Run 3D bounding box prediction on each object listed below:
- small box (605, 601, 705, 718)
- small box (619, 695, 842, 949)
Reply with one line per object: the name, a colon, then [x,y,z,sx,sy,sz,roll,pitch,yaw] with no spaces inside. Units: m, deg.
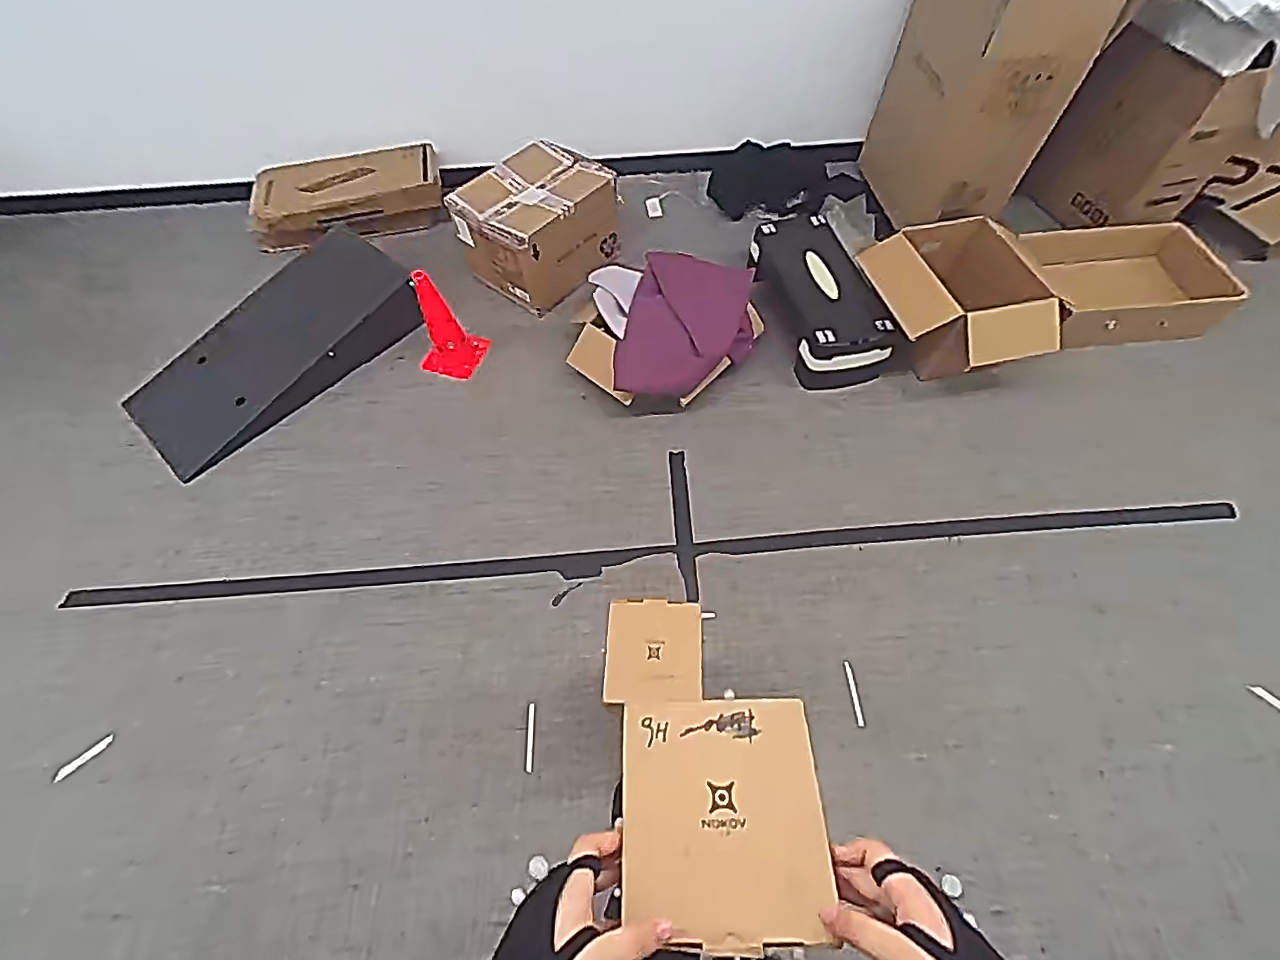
small box: [0.030,0.332,0.986,0.168,0.176,0.179,1,60,3]
small box: [0.072,0.313,0.506,0.168,0.176,0.179,-2,54,2]
